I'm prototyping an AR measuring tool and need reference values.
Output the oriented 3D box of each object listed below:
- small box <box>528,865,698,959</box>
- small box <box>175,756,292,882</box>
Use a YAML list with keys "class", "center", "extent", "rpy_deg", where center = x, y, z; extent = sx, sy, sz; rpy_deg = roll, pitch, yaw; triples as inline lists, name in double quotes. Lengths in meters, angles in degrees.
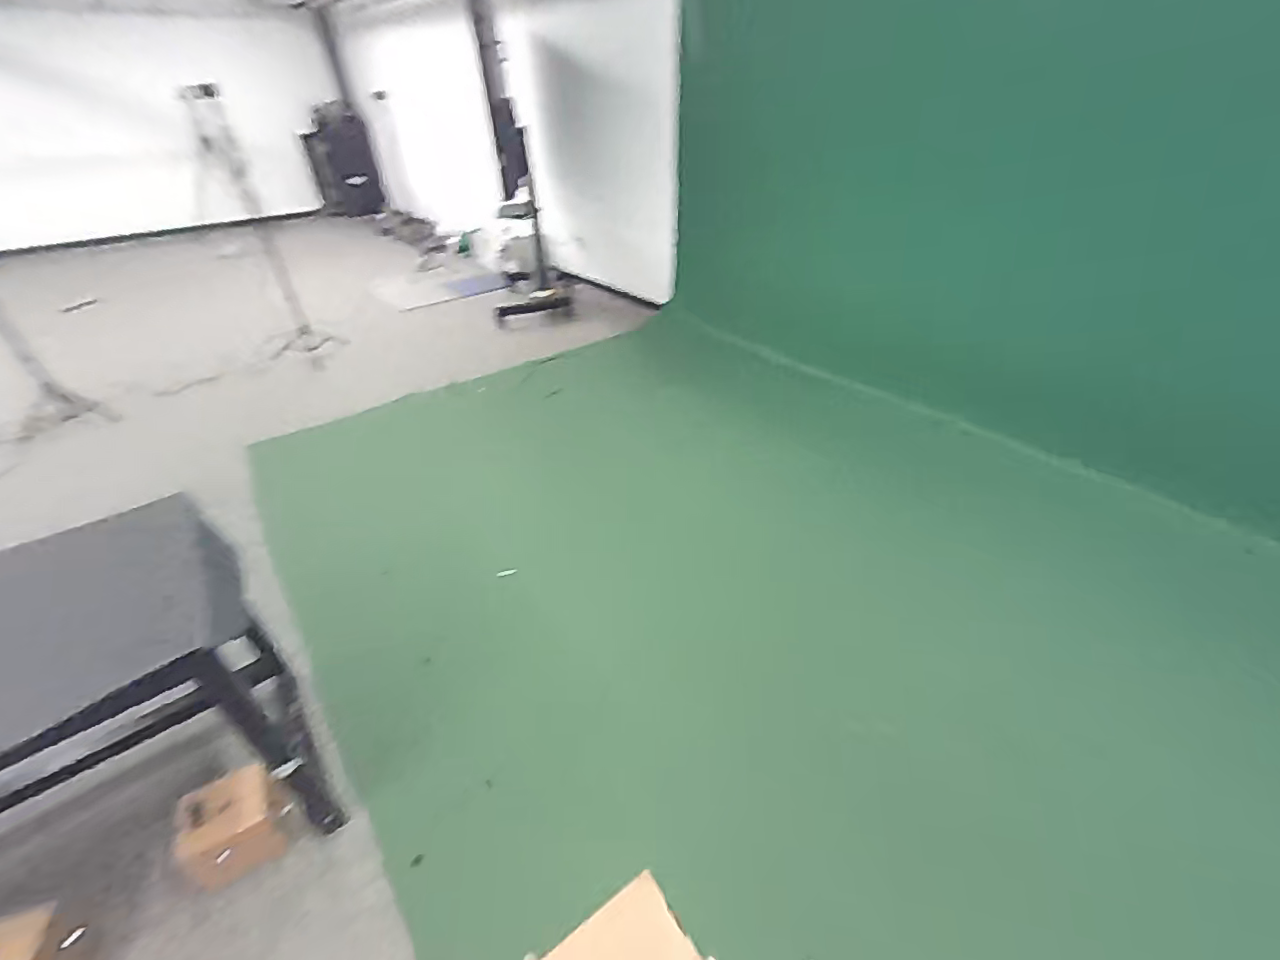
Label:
- class: "small box"
  center: [-0.018, 0.489, 0.472]
  extent: [0.179, 0.176, 0.168]
  rpy_deg: [-30, 51, -21]
- class: "small box"
  center: [-0.982, 0.825, 1.316]
  extent: [0.179, 0.176, 0.168]
  rpy_deg: [-21, 41, -26]
